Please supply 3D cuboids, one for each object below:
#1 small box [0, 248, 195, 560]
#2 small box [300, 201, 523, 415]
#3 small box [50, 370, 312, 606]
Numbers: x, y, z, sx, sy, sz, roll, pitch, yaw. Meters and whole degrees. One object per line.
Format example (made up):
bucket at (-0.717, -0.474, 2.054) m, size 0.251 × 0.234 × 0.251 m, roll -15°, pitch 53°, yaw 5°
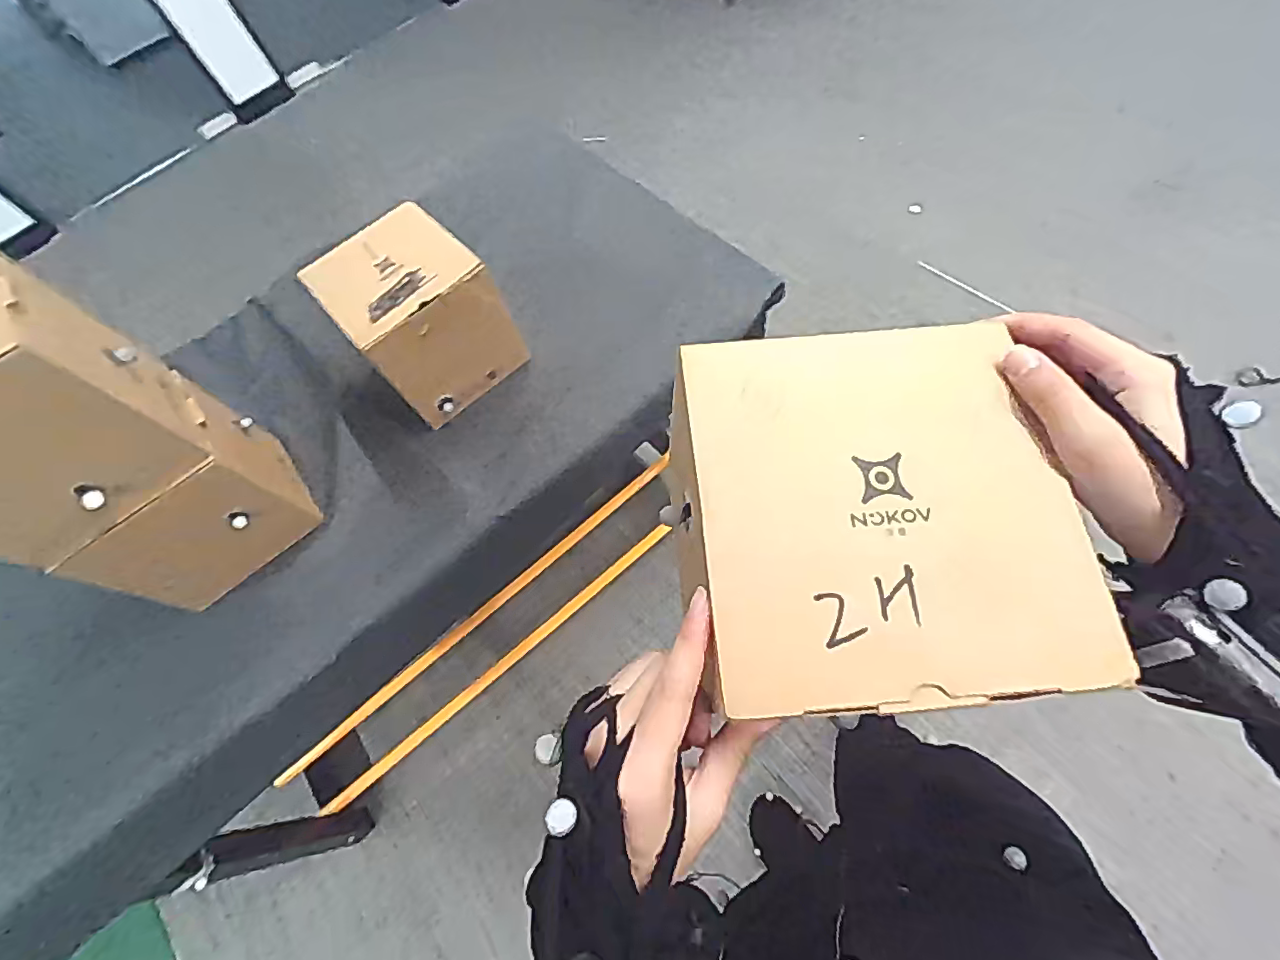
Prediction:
small box at (-0.550, -0.060, 0.482) m, size 0.179 × 0.176 × 0.168 m, roll -41°, pitch 64°, yaw -12°
small box at (-0.279, -0.209, 0.697) m, size 0.168 × 0.176 × 0.179 m, roll -41°, pitch 64°, yaw -12°
small box at (-0.521, 0.016, 0.625) m, size 0.179 × 0.176 × 0.168 m, roll -40°, pitch 64°, yaw -11°
